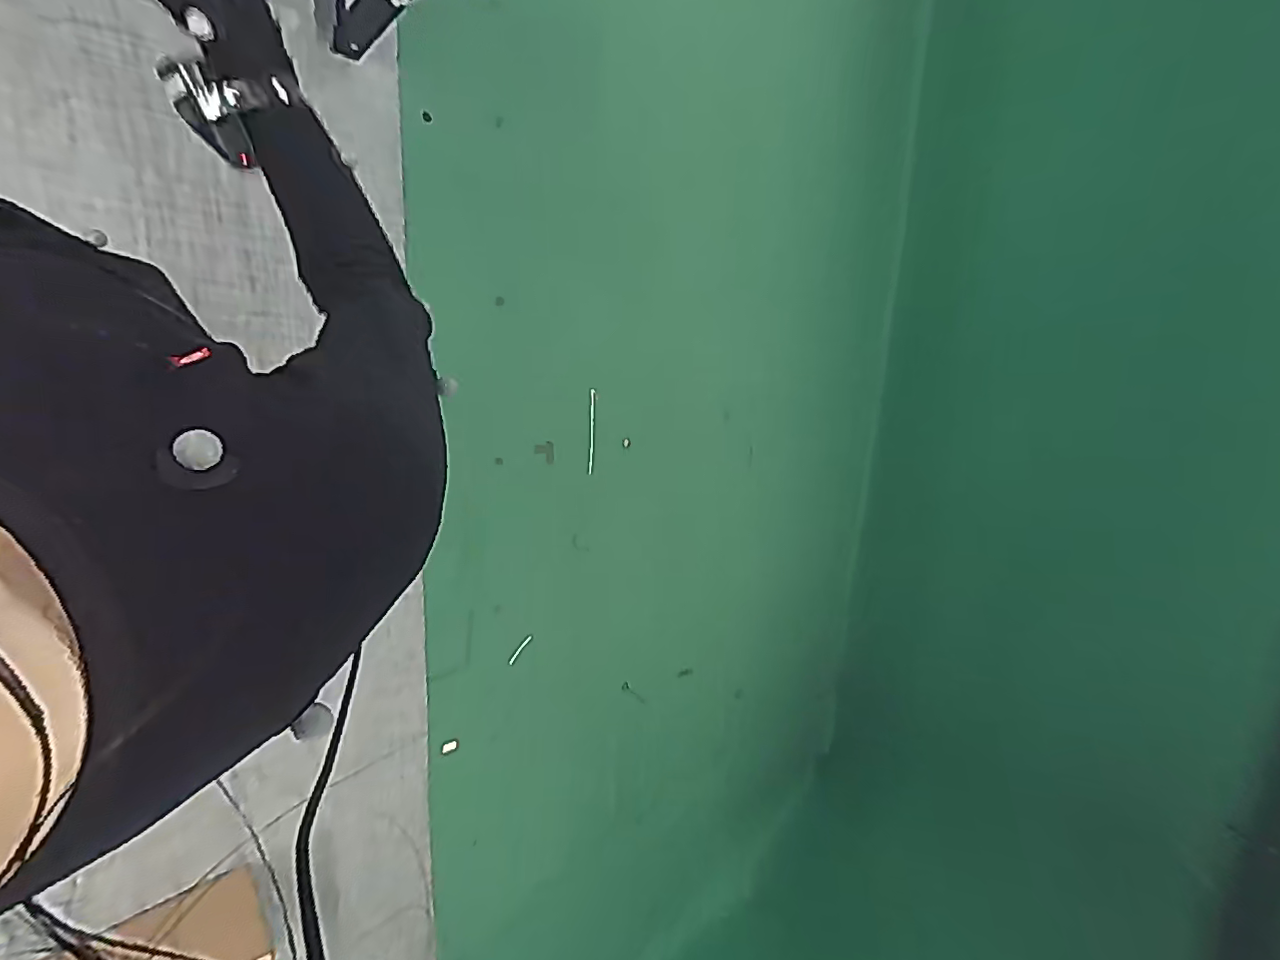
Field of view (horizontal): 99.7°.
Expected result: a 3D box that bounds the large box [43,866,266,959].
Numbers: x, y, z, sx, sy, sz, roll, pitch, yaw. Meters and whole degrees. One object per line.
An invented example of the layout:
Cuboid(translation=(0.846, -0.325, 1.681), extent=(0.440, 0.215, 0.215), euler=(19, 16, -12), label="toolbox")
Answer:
Cuboid(translation=(-1.098, 1.193, 1.199), extent=(0.408, 0.320, 0.320), euler=(-8, 106, -47), label="large box")
